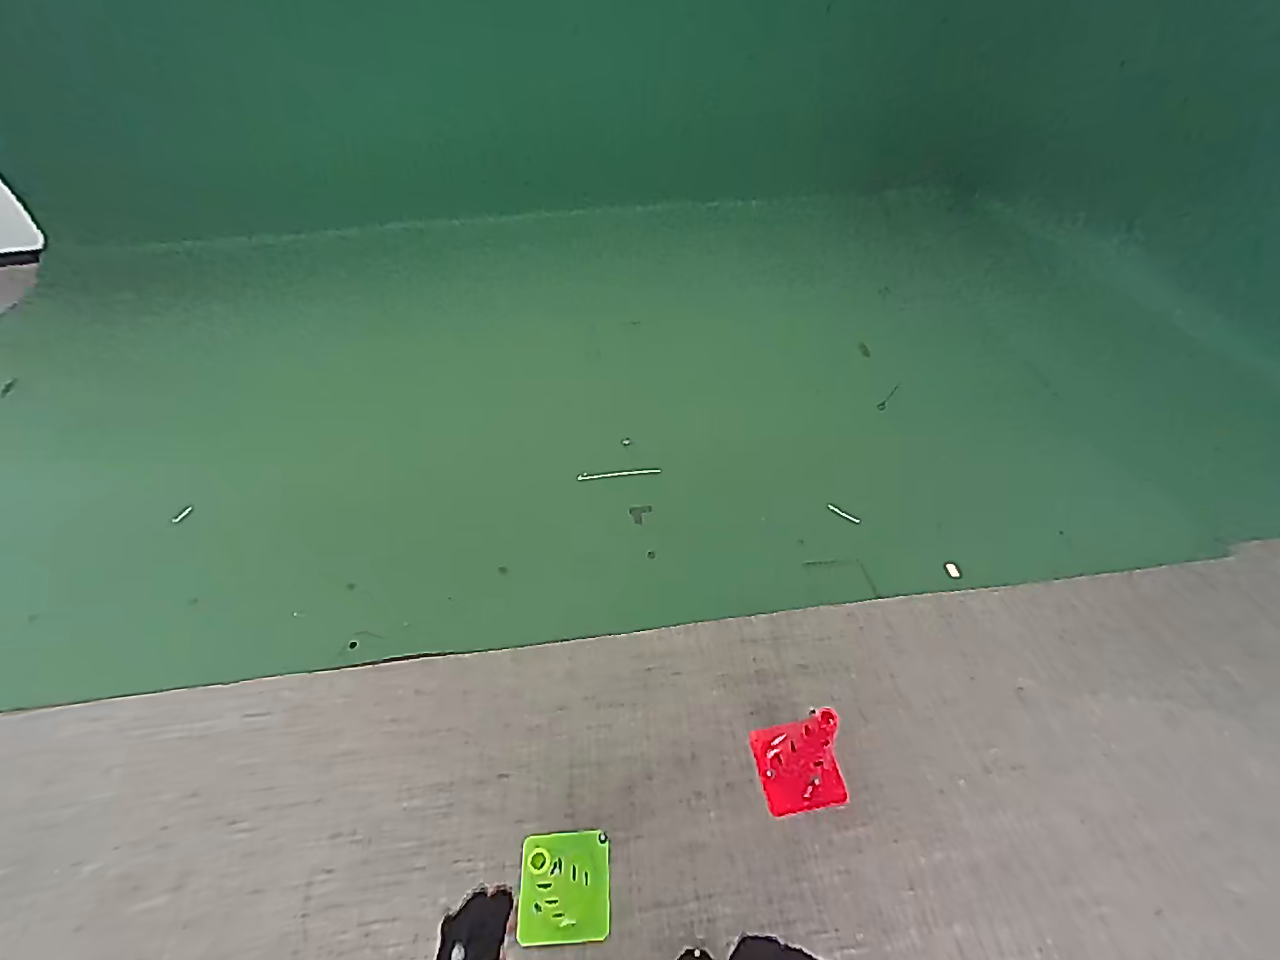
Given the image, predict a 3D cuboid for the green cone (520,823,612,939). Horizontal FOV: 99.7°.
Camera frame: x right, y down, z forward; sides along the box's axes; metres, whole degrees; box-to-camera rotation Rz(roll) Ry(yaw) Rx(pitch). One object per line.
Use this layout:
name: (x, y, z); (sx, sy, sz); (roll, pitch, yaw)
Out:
green cone: (-0.172, 0.780, 1.085); (0.200, 0.368, 0.202); (-5, 49, -1)
